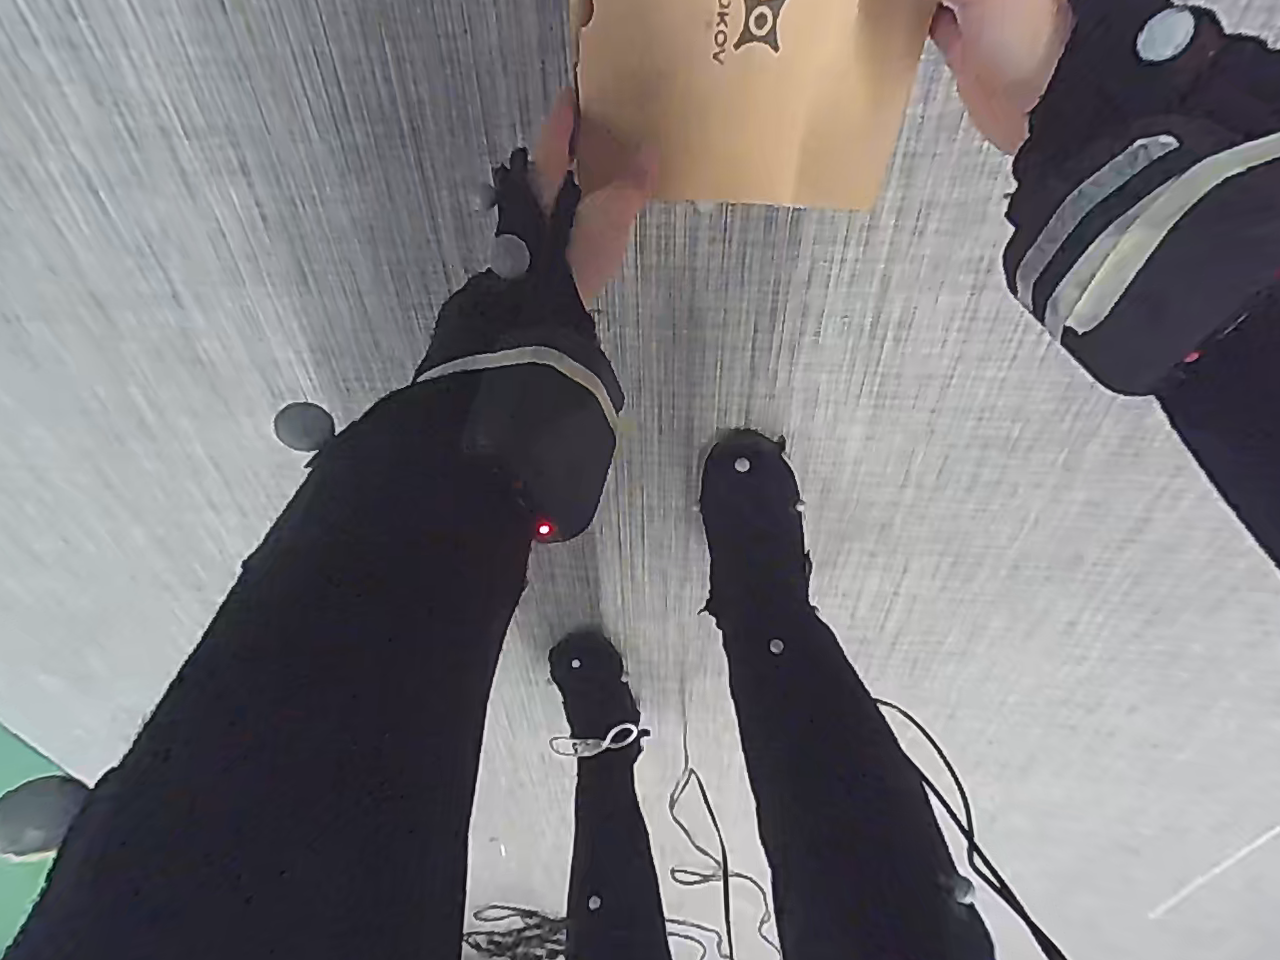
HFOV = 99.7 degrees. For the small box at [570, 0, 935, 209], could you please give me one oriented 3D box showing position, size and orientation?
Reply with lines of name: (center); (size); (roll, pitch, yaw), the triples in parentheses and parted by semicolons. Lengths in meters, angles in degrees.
small box: (0.055, -0.277, 0.319); (0.179, 0.176, 0.168); (4, 132, 0)
